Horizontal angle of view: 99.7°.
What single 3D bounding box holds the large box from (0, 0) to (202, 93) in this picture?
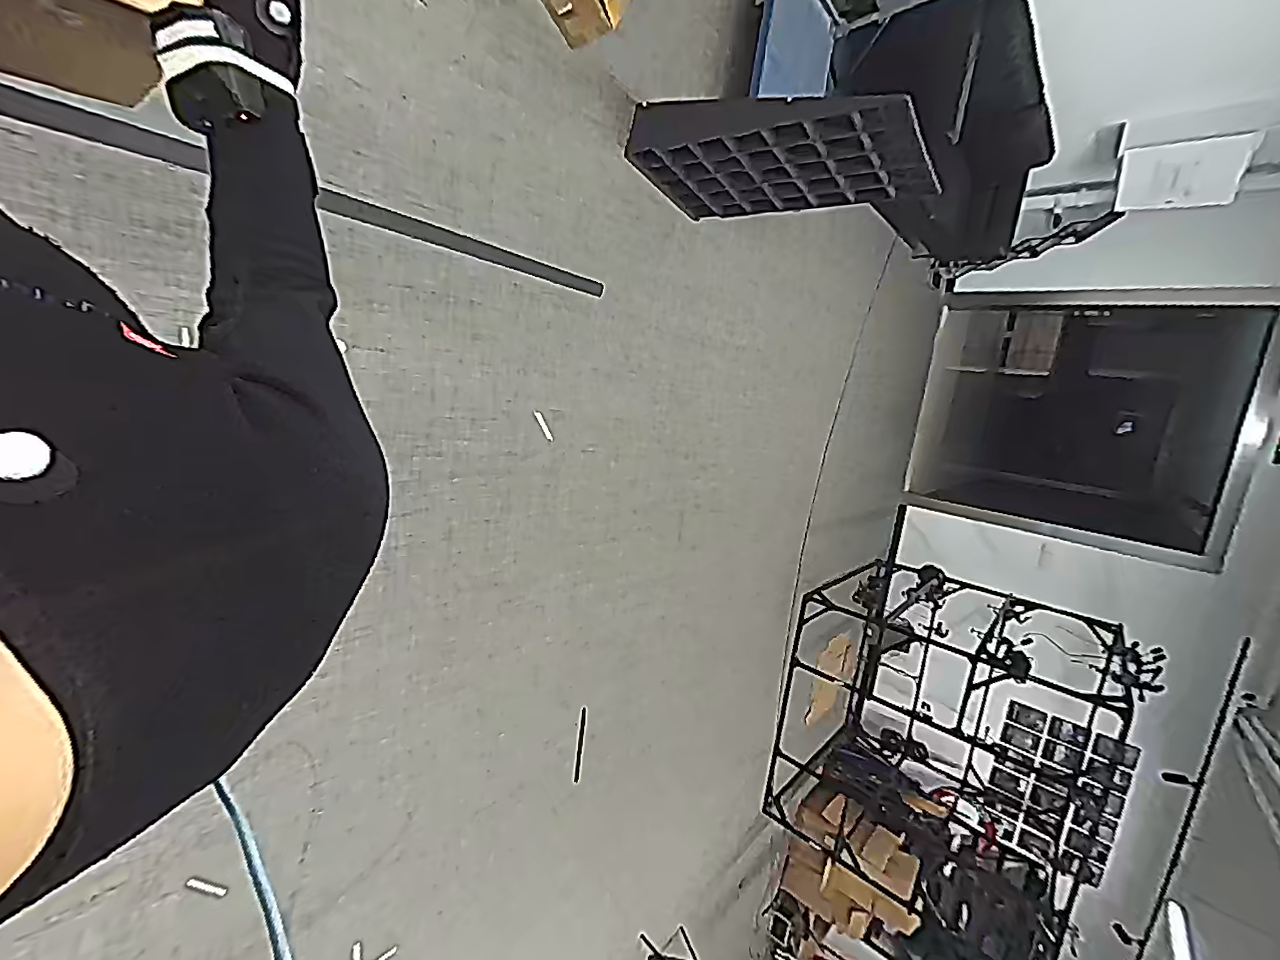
[{"bbox_3d":[-0.550,-0.485,0.297,0.408,0.320,0.320,-13,115,-49],"label":"large box"}]
